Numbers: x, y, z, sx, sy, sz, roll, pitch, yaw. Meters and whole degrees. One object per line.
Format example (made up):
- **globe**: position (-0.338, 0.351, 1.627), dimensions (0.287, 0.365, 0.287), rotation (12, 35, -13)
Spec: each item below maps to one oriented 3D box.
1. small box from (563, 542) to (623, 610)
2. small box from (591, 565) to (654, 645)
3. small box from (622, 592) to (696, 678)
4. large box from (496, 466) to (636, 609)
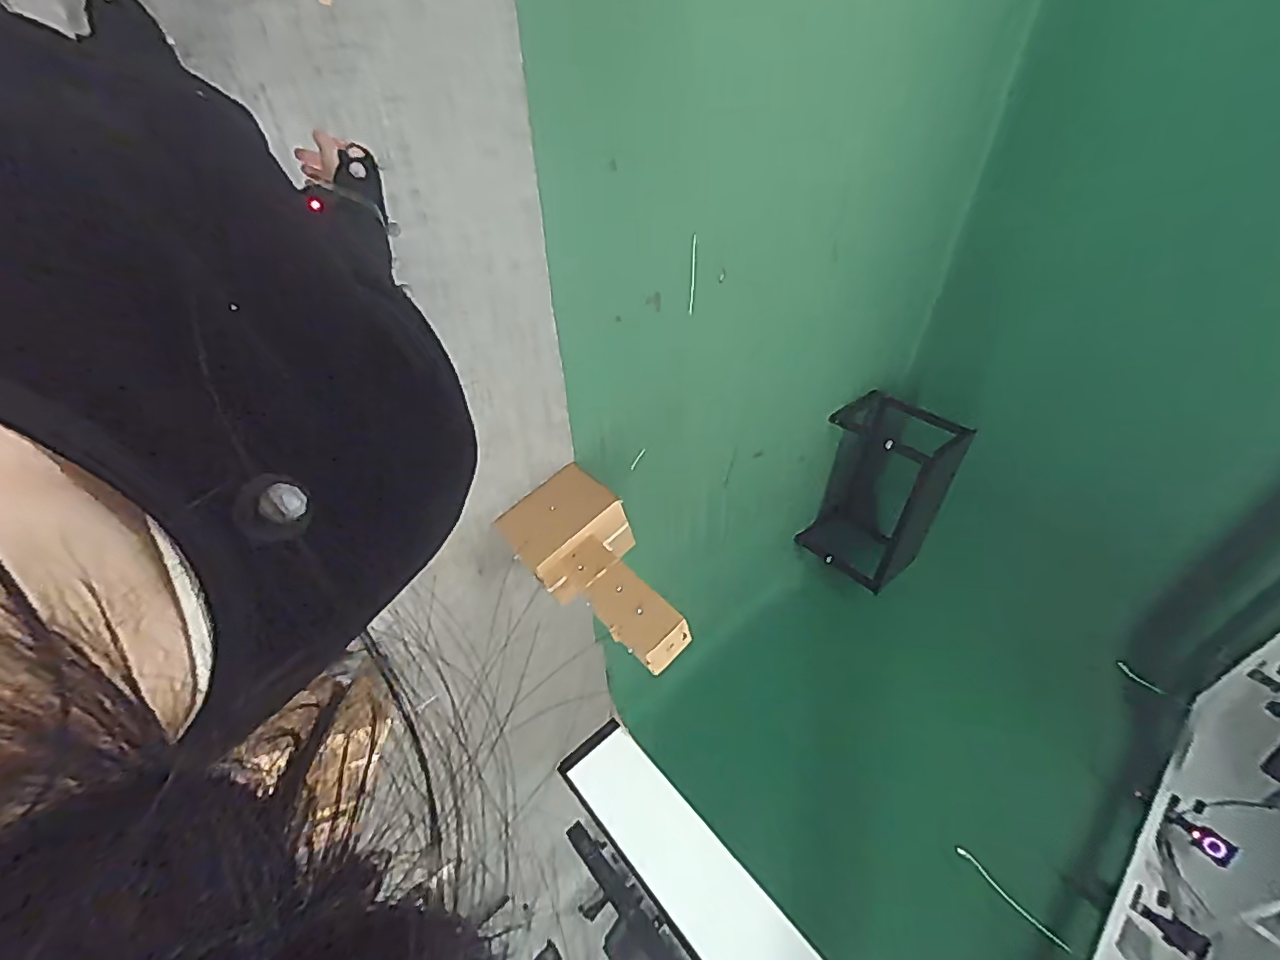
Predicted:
- **small box**: position (-0.159, 0.353, 1.985), dimensions (0.168, 0.176, 0.179), rotation (-39, 141, -19)
- **small box**: position (-0.053, 0.434, 1.890), dimensions (0.179, 0.176, 0.168), rotation (-41, 141, -18)
- **small box**: position (0.057, 0.511, 1.795), dimensions (0.179, 0.176, 0.168), rotation (-39, 141, -18)
- **large box**: position (-0.286, 0.222, 2.153), dimensions (0.408, 0.320, 0.320), rotation (-41, 143, -20)
